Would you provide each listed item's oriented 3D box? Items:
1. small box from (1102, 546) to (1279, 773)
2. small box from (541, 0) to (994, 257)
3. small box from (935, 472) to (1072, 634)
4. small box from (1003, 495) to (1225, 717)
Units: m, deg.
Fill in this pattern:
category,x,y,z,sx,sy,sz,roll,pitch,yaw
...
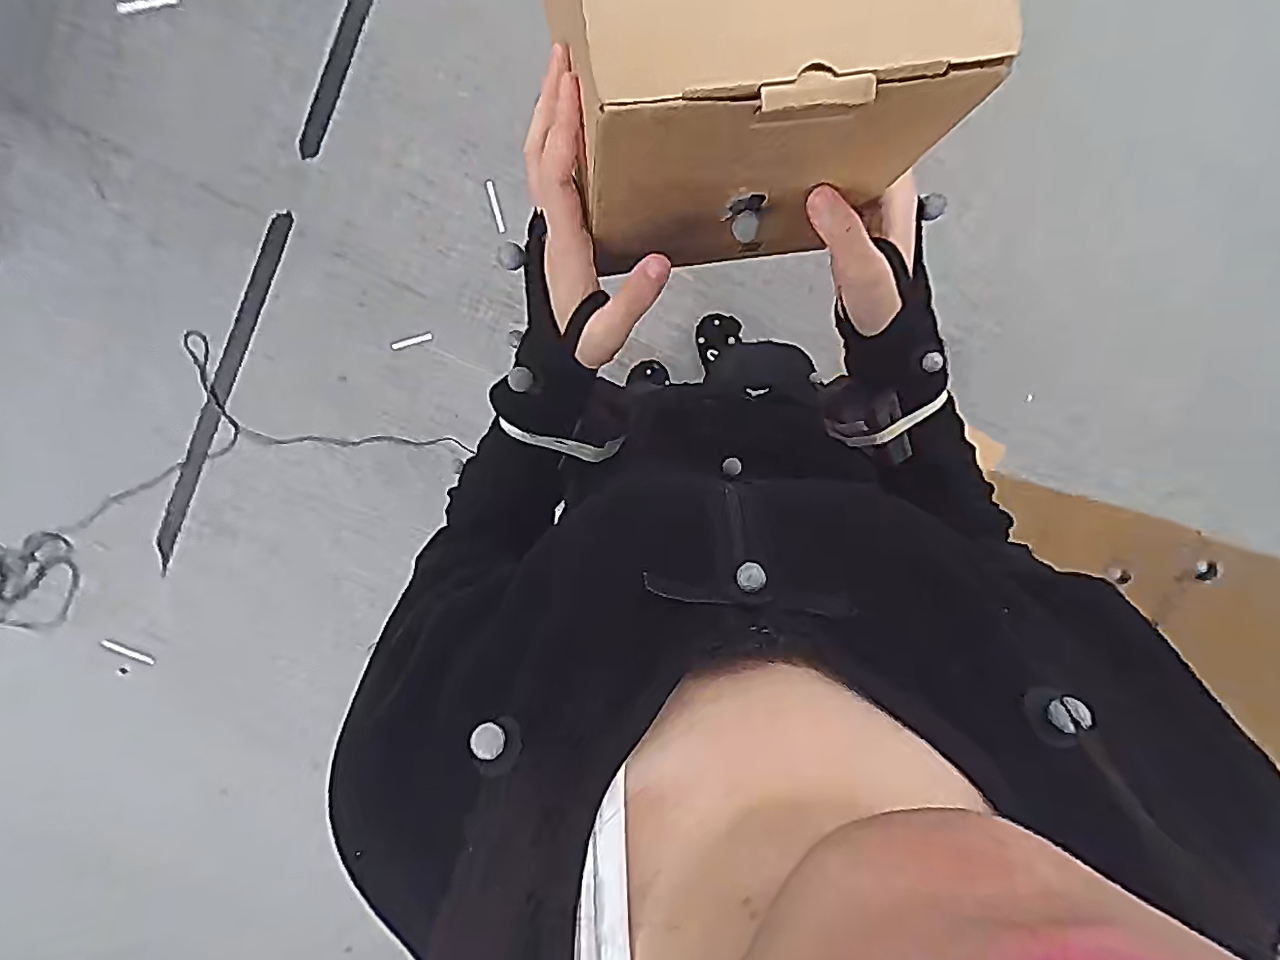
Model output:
category,x,y,z,sx,sy,sz,roll,pitch,yaw
small box,0.600,0.179,0.500,0.179,0.176,0.168,29,99,-8
small box,0.037,-0.232,0.280,0.168,0.176,0.179,-10,92,-6
small box,0.588,0.110,0.819,0.168,0.176,0.179,29,99,-8
small box,0.595,0.143,0.660,0.168,0.176,0.179,29,99,-7
